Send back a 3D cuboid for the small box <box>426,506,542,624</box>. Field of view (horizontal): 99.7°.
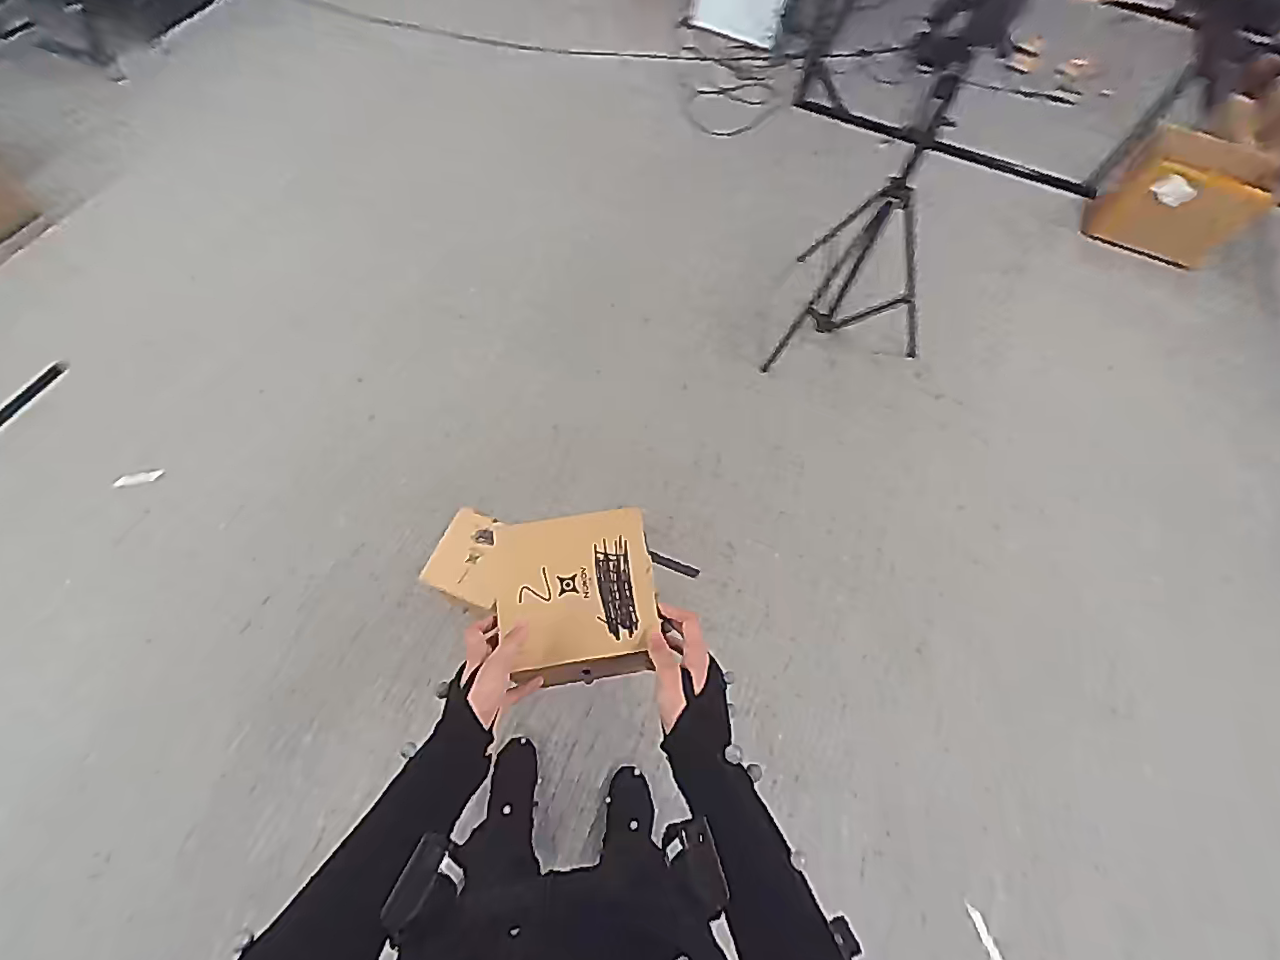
[{"bbox_3d":[-0.324,0.188,1.168,0.168,0.176,0.179,21,66,8],"label":"small box"}]

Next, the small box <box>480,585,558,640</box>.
[{"bbox_3d":[-0.330,0.314,1.471,0.168,0.176,0.179,19,65,6],"label":"small box"}]

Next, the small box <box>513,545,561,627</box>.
[{"bbox_3d":[-0.308,0.245,1.324,0.179,0.176,0.168,18,65,6],"label":"small box"}]
